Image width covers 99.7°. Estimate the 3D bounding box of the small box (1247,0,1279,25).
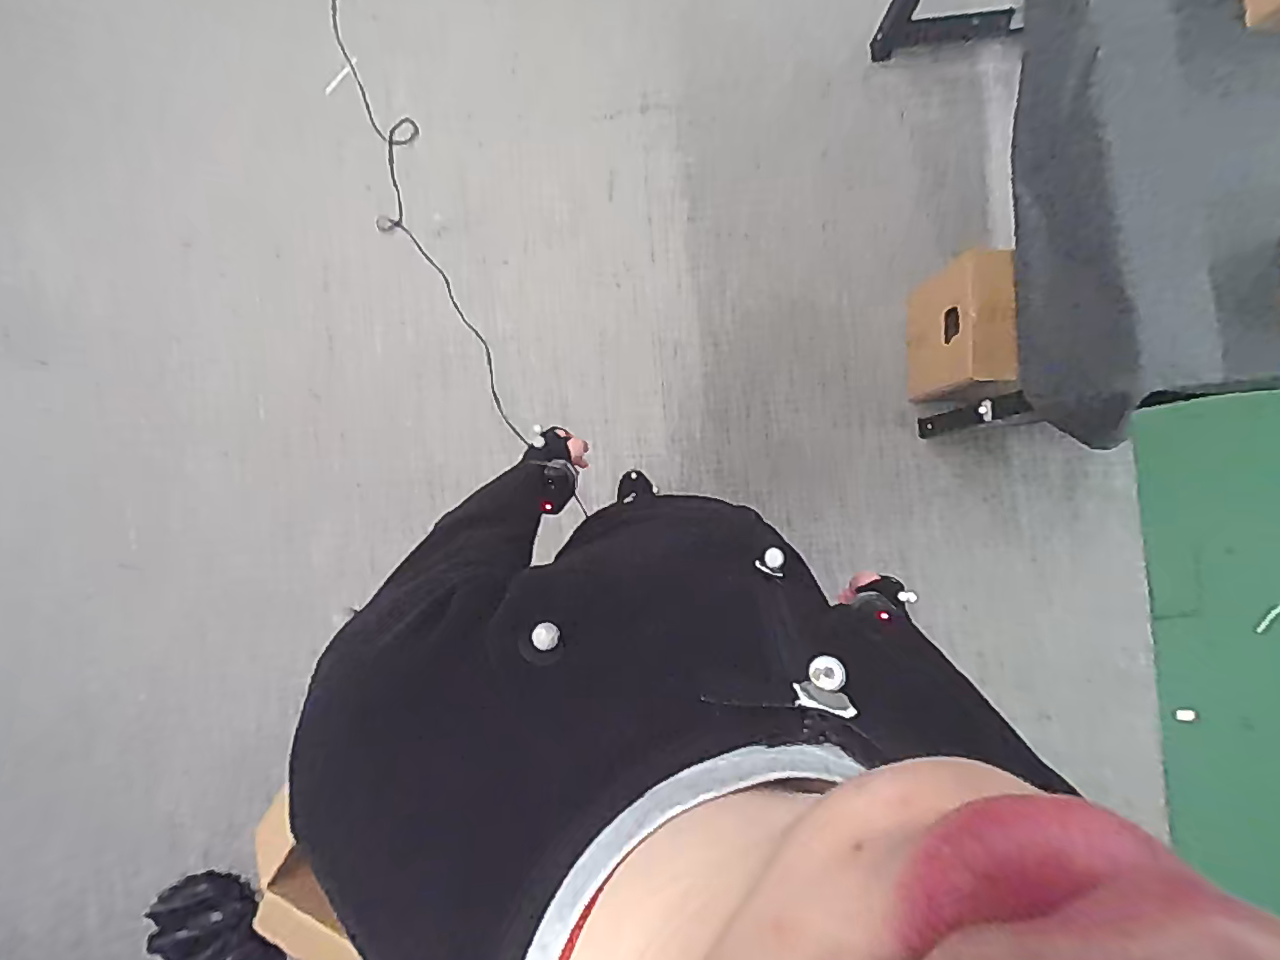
[{"bbox_3d":[1.036,-0.797,0.775,0.168,0.176,0.179,-2,87,-1],"label":"small box"}]
